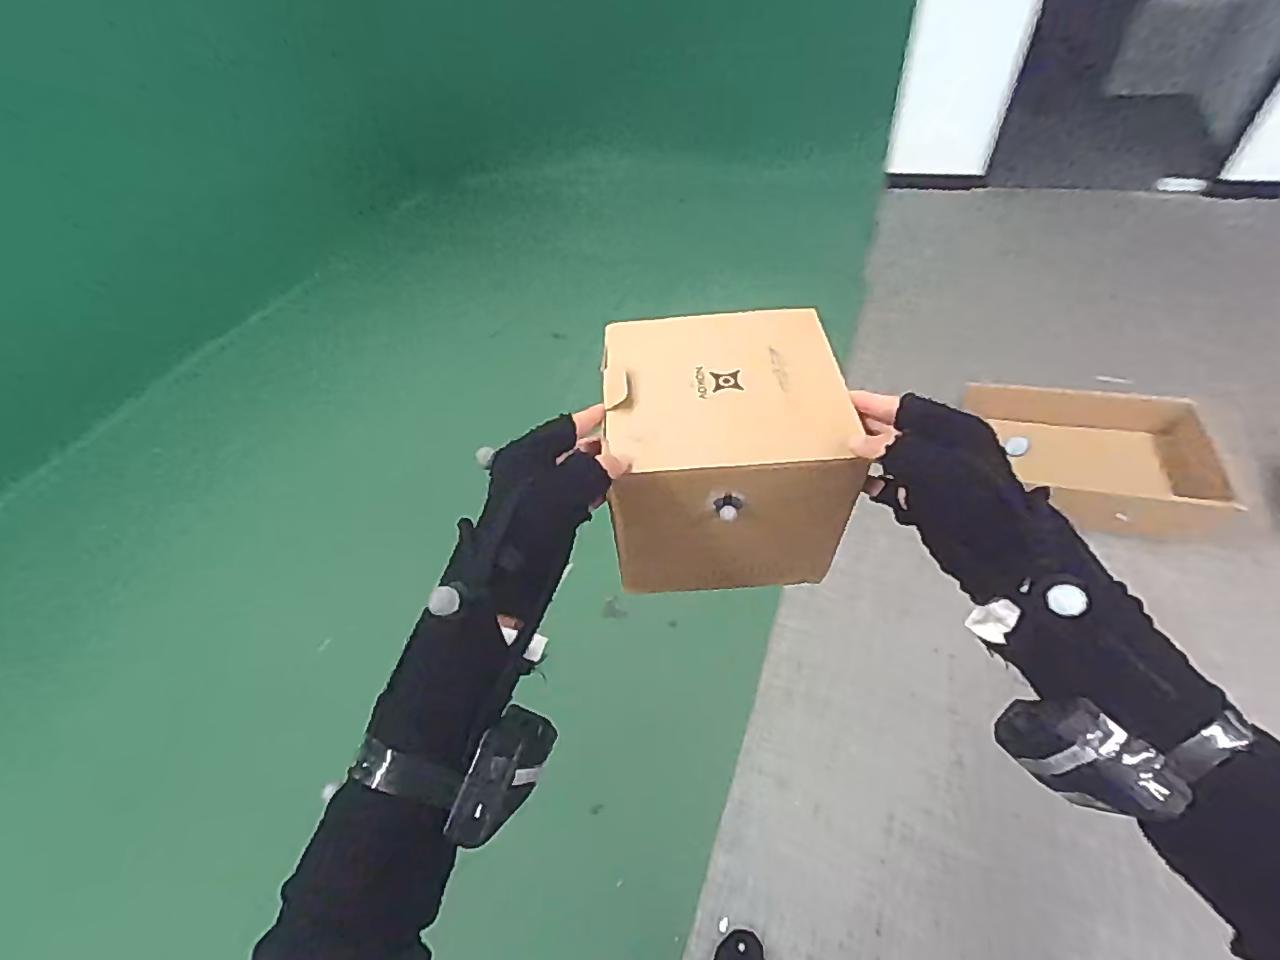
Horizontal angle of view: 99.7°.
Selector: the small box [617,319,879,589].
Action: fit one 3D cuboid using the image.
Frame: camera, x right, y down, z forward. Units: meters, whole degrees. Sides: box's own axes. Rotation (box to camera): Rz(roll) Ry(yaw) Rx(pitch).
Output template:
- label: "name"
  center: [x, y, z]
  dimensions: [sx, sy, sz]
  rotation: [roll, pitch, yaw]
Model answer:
- label: "small box"
  center: [0.074, -0.017, 0.467]
  dimensions: [0.179, 0.176, 0.168]
  rotation: [-3, 51, 1]
